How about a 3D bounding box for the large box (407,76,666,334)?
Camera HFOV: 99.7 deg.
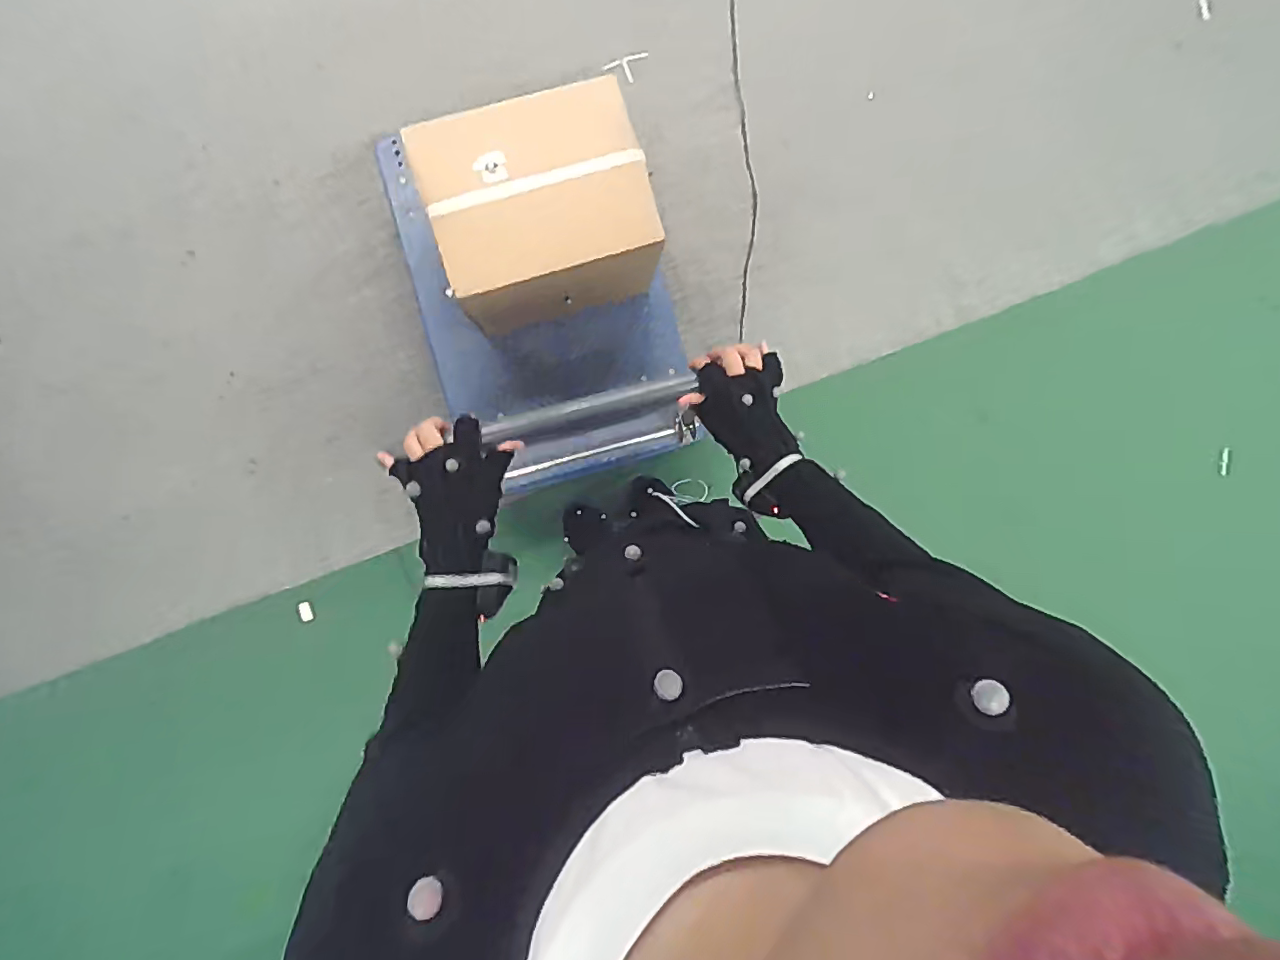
[{"bbox_3d":[-0.194,-0.538,1.128,0.408,0.320,0.320,-18,92,-4],"label":"large box"}]
